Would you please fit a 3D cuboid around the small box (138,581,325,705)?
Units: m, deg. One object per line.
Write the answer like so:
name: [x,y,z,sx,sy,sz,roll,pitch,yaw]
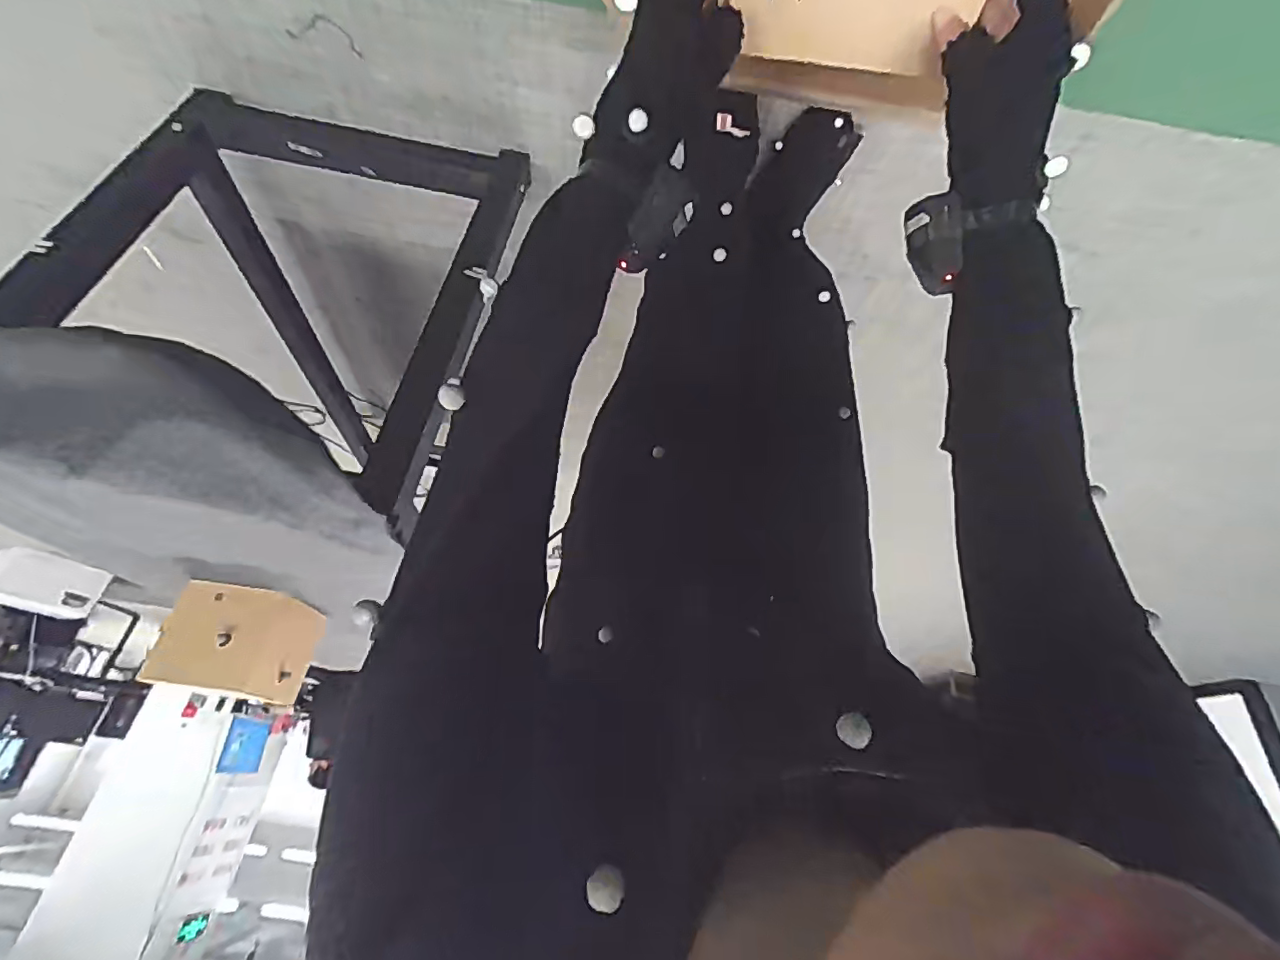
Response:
small box: [-0.693,0.286,0.944,0.168,0.176,0.179,7,151,0]
